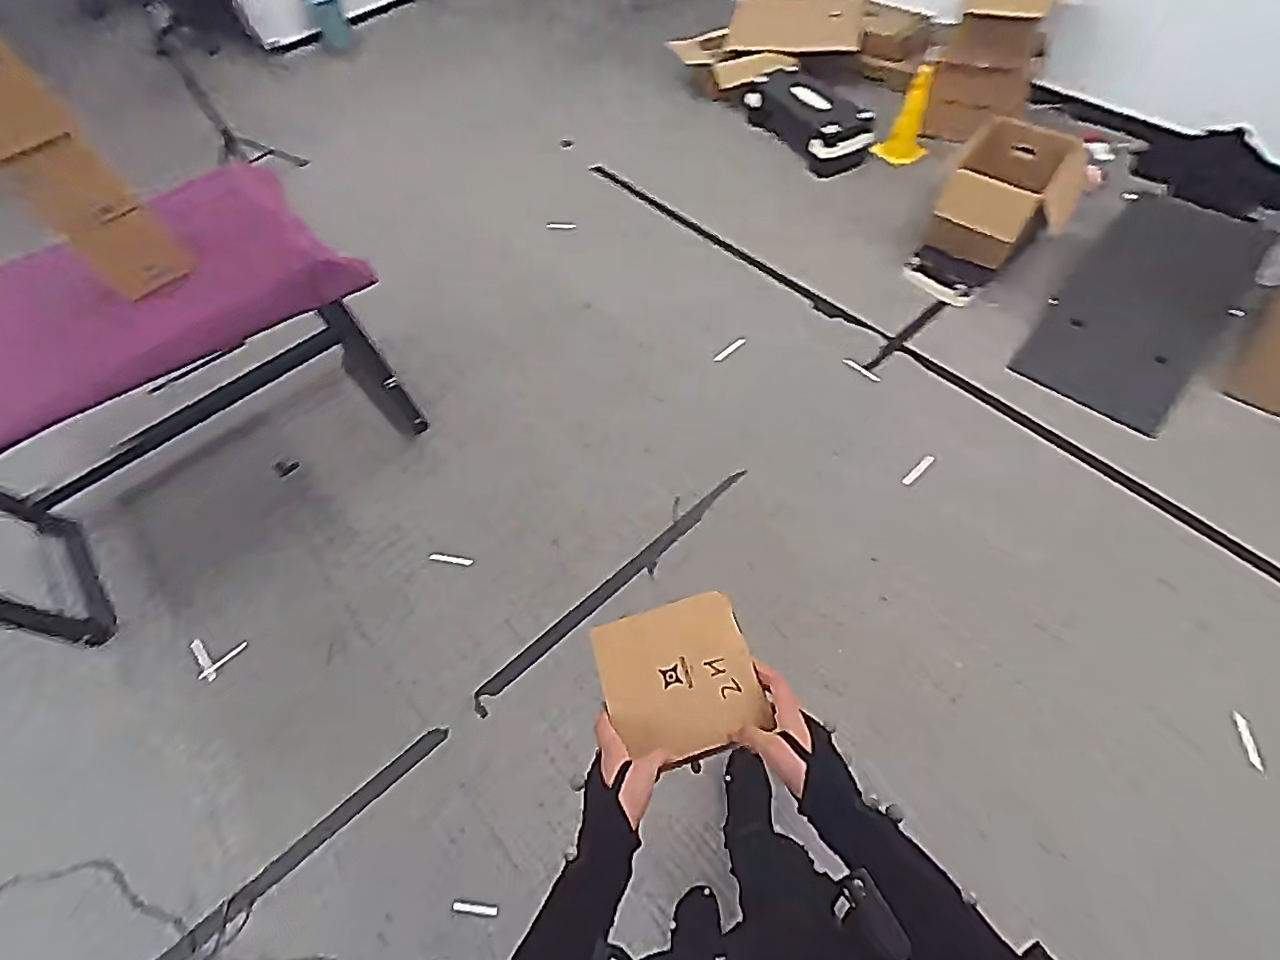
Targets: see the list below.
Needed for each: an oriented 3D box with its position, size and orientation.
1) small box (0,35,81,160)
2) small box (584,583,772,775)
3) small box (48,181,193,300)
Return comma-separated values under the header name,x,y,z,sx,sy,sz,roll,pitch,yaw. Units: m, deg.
name,x,y,z,sx,sy,sz,roll,pitch,yaw
small box,-1.225,-0.728,1.005,0.168,0.176,0.179,37,69,22
small box,0.044,0.254,0.675,0.179,0.176,0.168,-17,61,-5
small box,-1.225,-0.569,1.292,0.179,0.176,0.168,-41,65,-19
